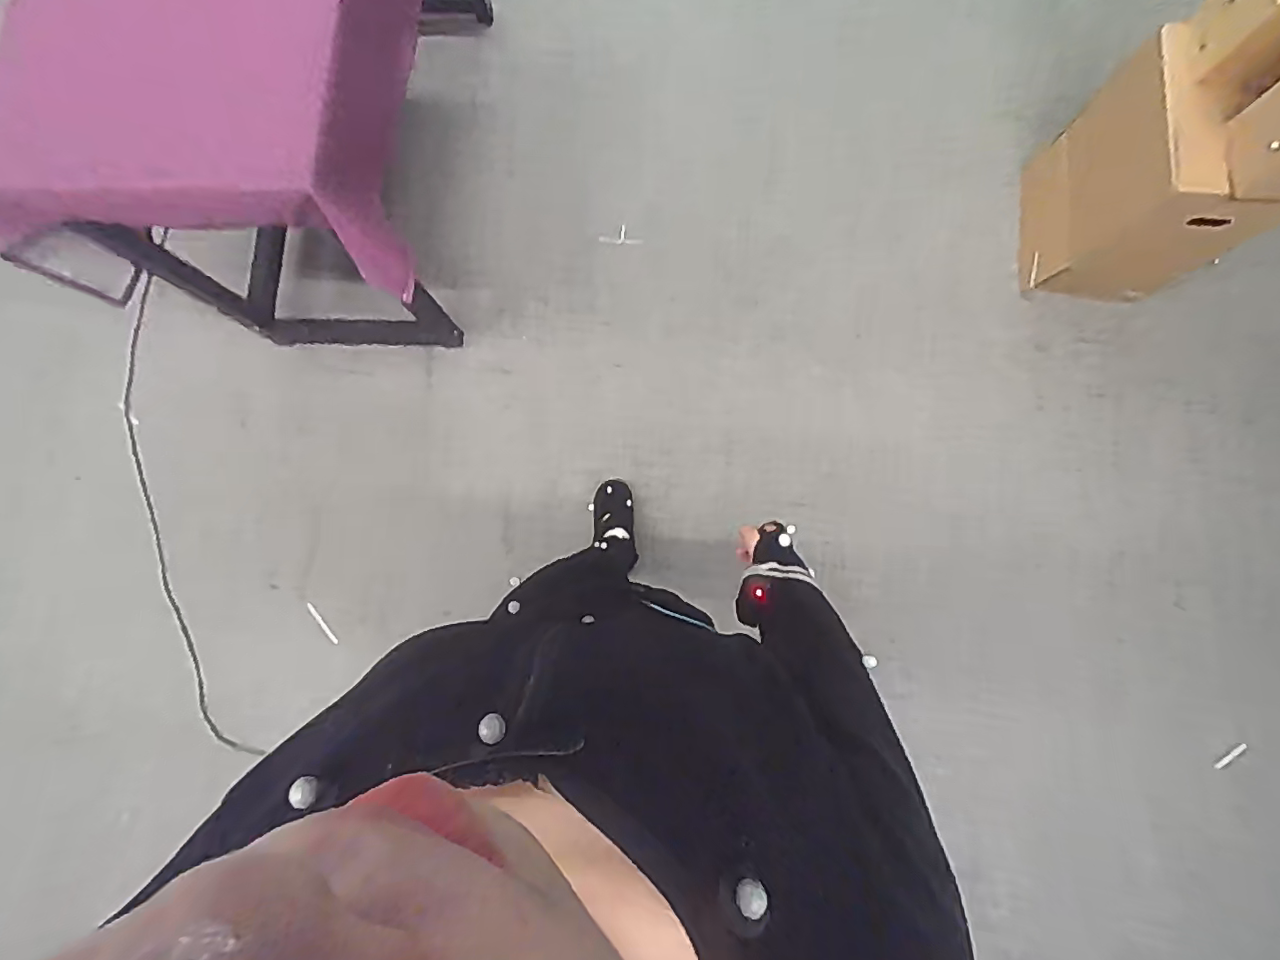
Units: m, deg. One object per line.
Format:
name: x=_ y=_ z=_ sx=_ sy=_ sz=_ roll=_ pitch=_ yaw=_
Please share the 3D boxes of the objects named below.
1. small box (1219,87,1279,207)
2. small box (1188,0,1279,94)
small box: x=1.306 y=-0.663 z=1.060 sx=0.168 sy=0.176 sz=0.179 roll=5 pitch=80 yaw=1
small box: x=1.277 y=-0.928 z=1.098 sx=0.179 sy=0.176 sz=0.168 roll=7 pitch=83 yaw=1
